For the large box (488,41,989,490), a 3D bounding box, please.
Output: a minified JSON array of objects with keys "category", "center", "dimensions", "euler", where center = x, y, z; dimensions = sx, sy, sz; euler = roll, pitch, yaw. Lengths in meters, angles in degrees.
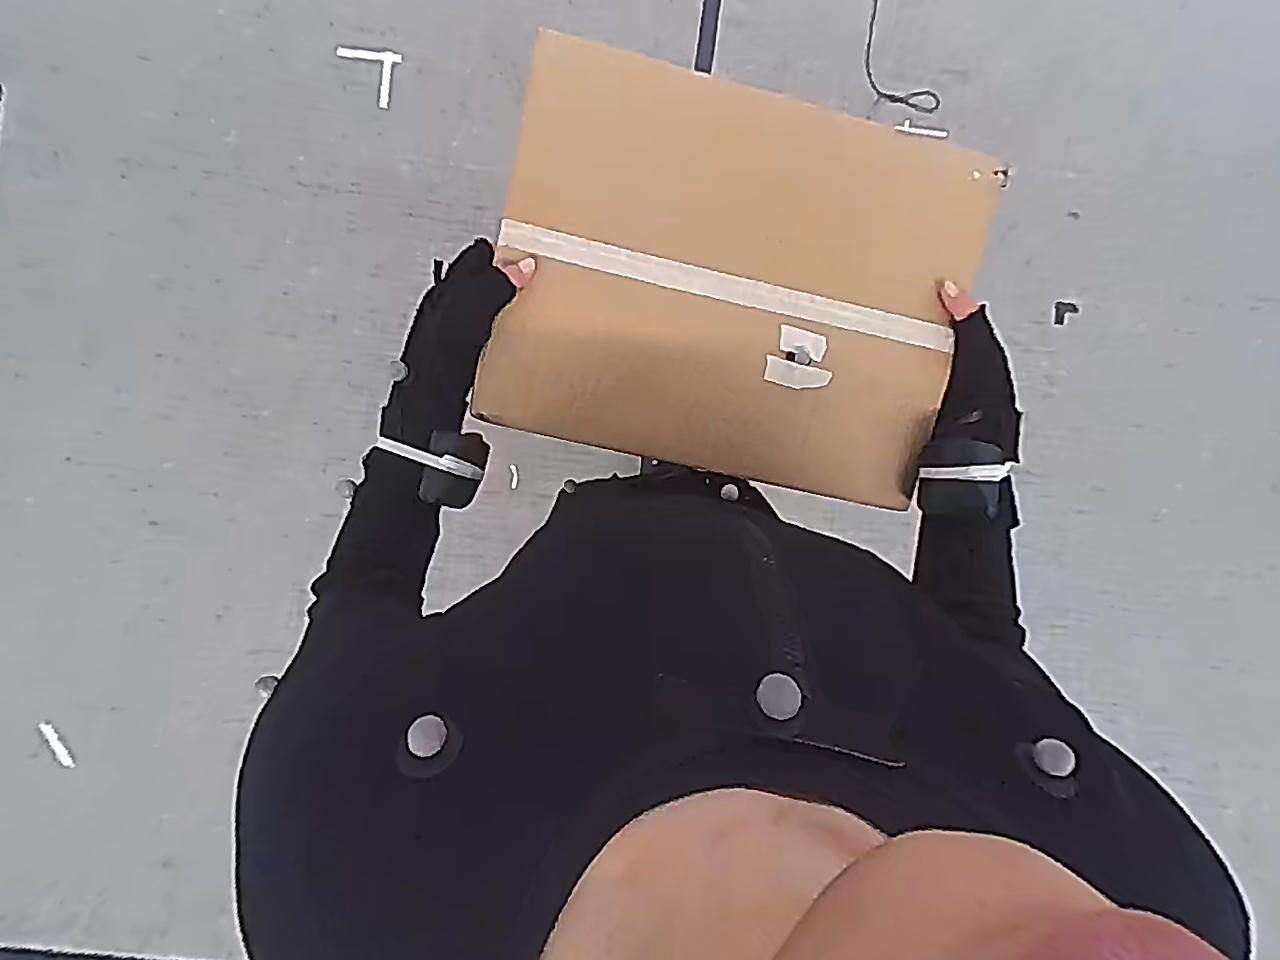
[{"category":"large box","center":[0.073,-0.197,0.623],"dimensions":[0.408,0.320,0.320],"euler":[12,100,-6]}]
